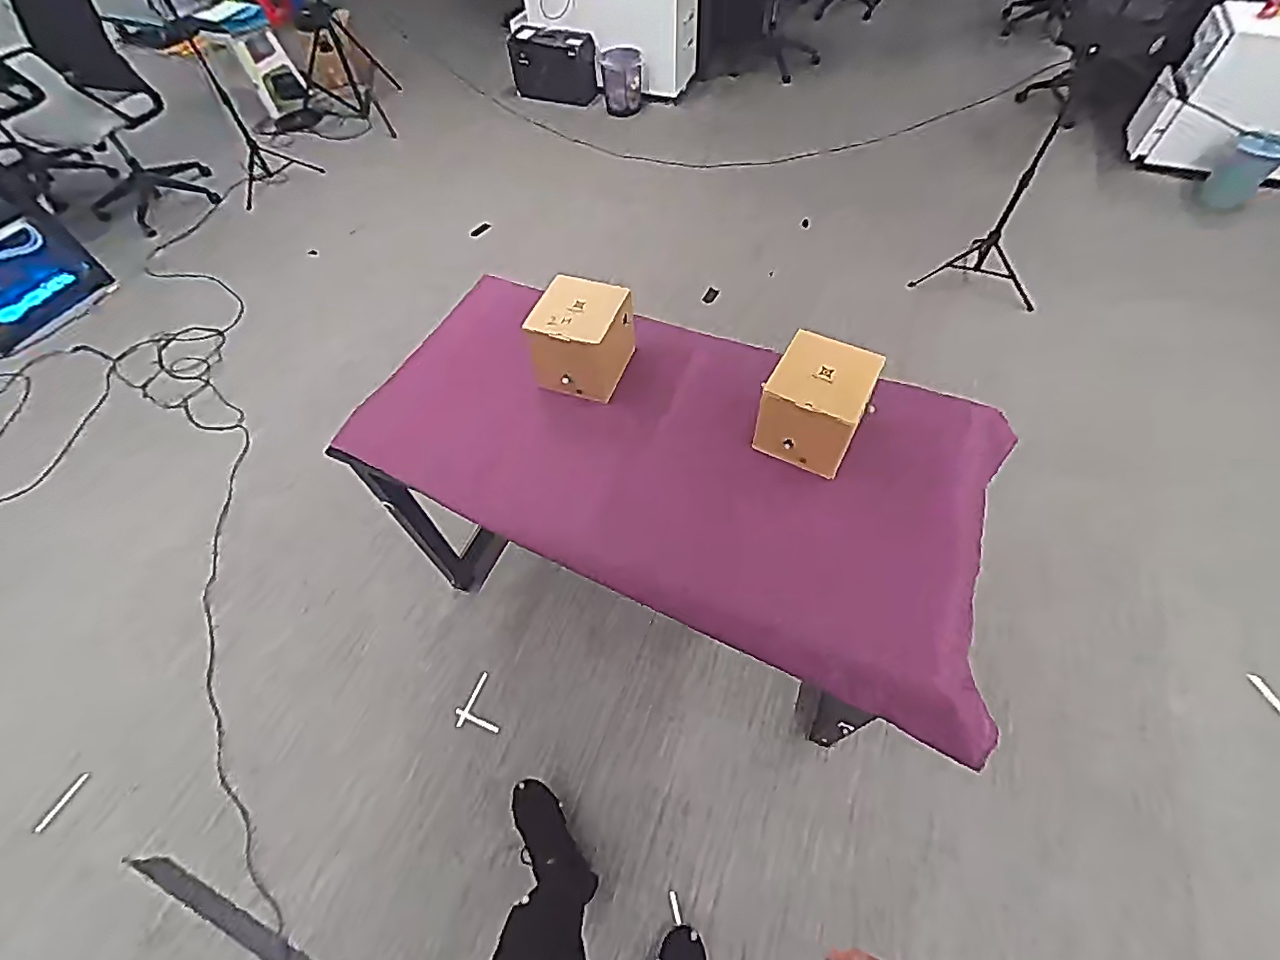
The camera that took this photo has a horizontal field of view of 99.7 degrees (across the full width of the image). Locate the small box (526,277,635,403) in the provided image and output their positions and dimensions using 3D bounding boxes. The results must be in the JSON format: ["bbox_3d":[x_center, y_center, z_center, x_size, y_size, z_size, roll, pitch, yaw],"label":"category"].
[{"bbox_3d":[-0.115,-0.293,1.140,0.168,0.176,0.179,16,59,13],"label":"small box"}]

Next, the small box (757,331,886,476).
[{"bbox_3d":[0.332,-0.141,1.015,0.168,0.176,0.179,24,62,18],"label":"small box"}]
